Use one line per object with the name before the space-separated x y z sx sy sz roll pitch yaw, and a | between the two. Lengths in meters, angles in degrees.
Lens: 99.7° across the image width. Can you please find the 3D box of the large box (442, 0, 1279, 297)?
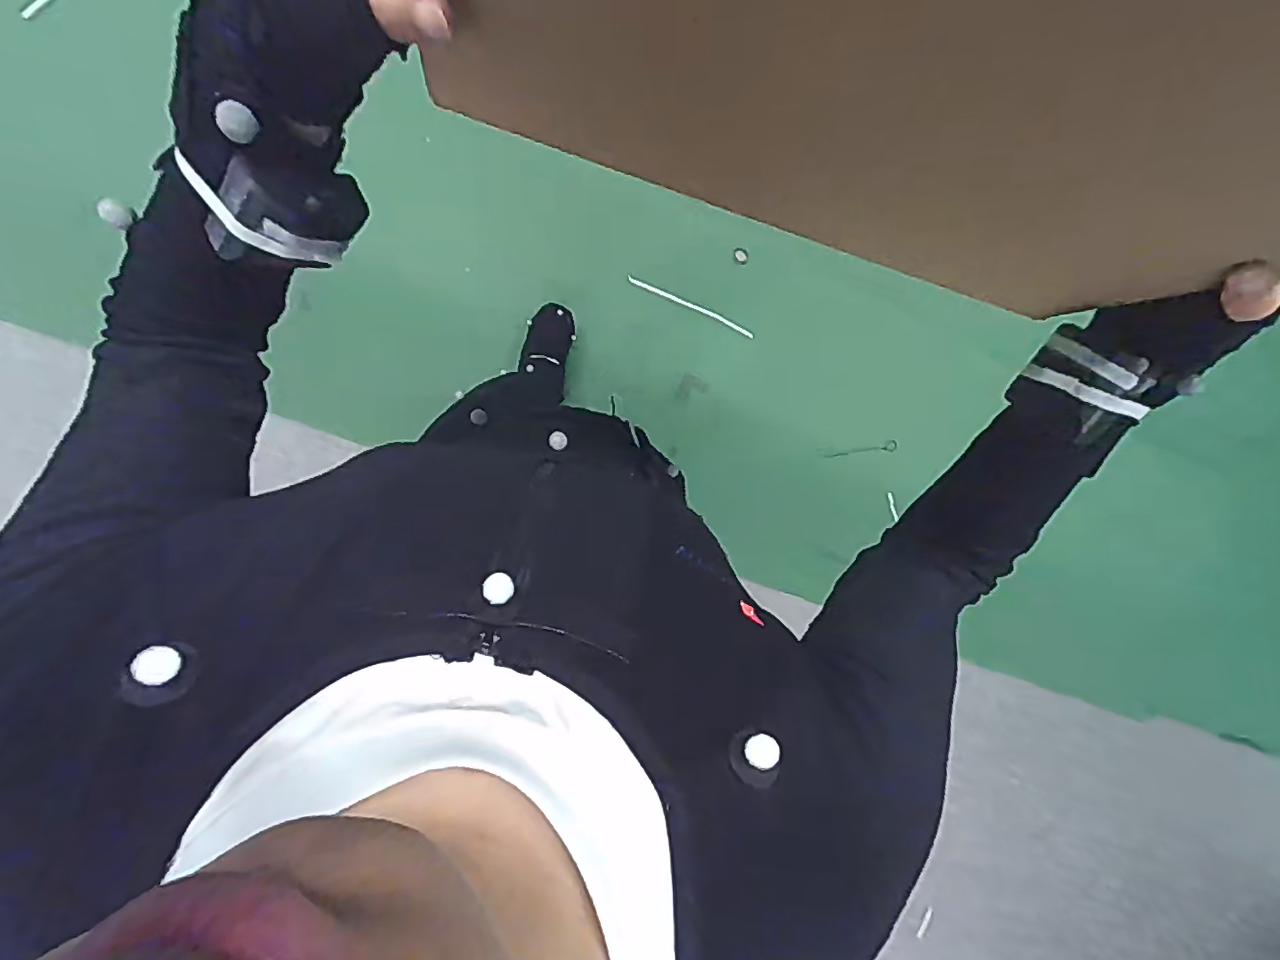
large box | 0.161 -0.288 0.169 0.408 0.320 0.320 11 95 -18
